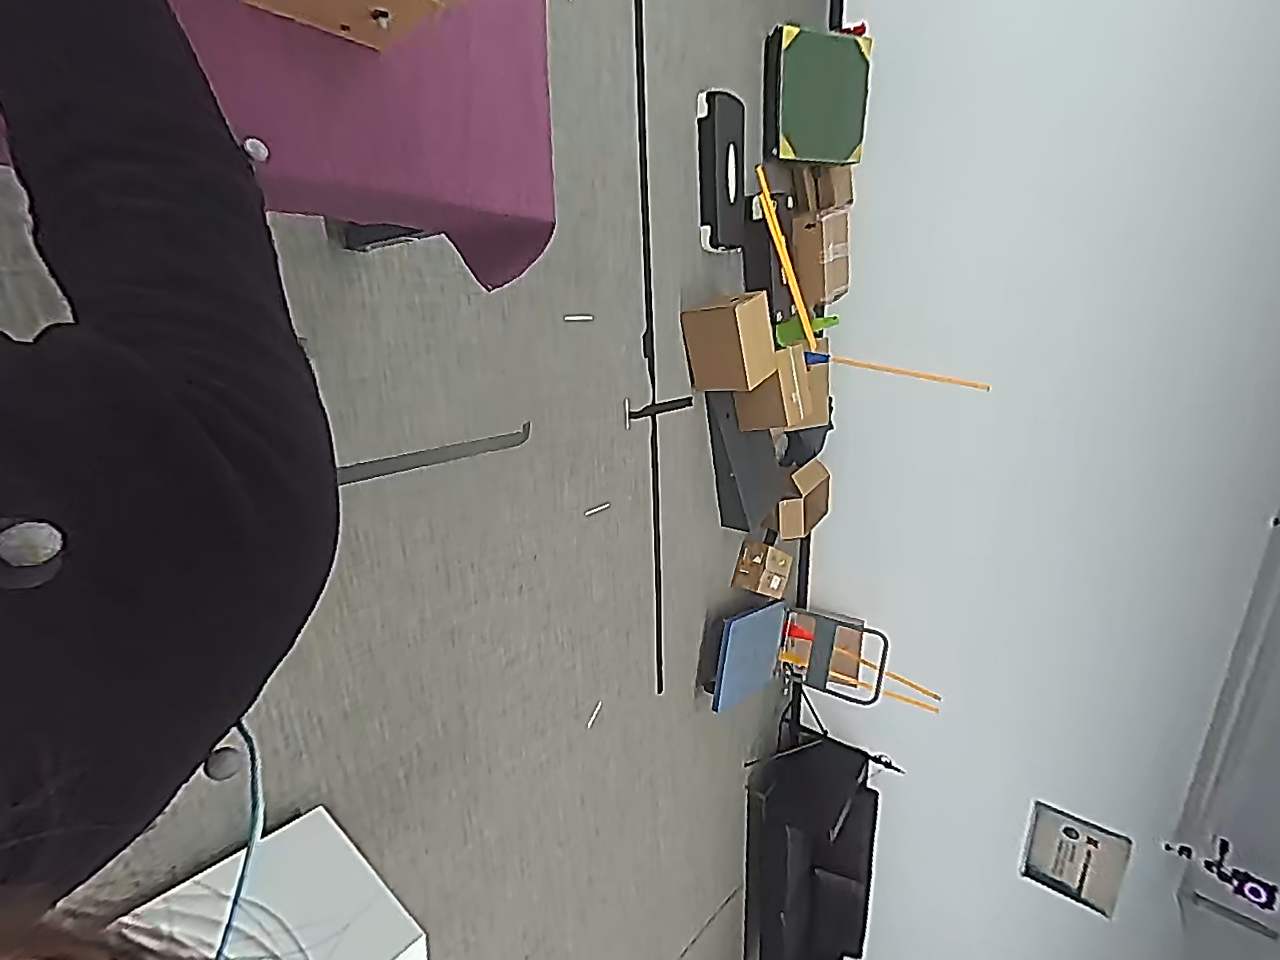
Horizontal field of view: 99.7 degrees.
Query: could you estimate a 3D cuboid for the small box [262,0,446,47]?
[{"bbox_3d":[-0.346,-0.635,0.608,0.168,0.176,0.179,-21,115,-49],"label":"small box"}]
